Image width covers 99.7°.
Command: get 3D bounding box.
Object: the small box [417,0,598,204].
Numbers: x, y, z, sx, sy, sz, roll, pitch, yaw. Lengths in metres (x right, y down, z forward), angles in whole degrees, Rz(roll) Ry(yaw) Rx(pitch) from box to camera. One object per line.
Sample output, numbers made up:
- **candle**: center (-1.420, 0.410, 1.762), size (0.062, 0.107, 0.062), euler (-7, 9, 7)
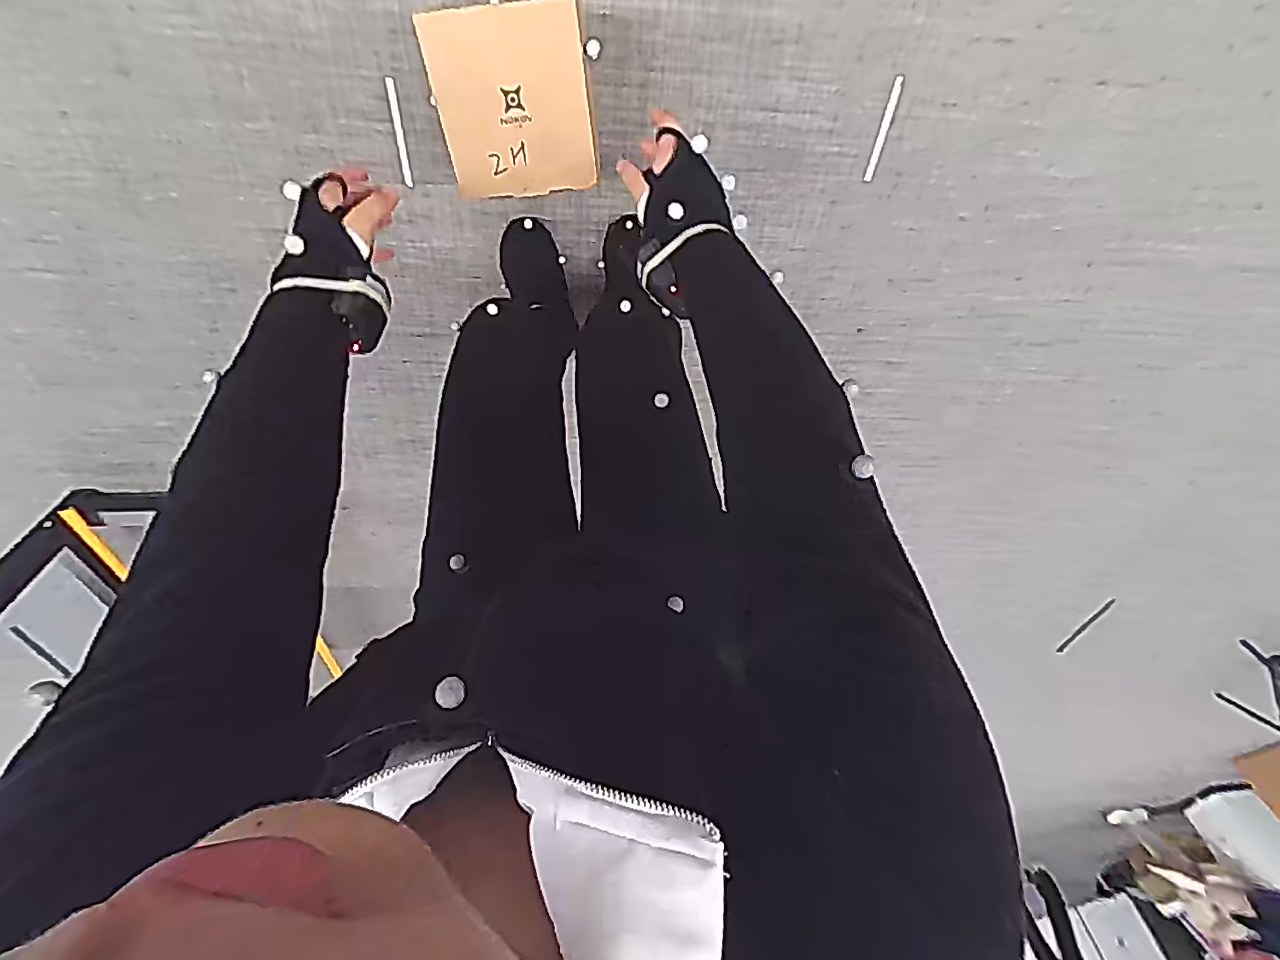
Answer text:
- **small box**: center (-0.142, -0.456, 0.653), size (0.168, 0.176, 0.179), euler (-5, 132, 1)
